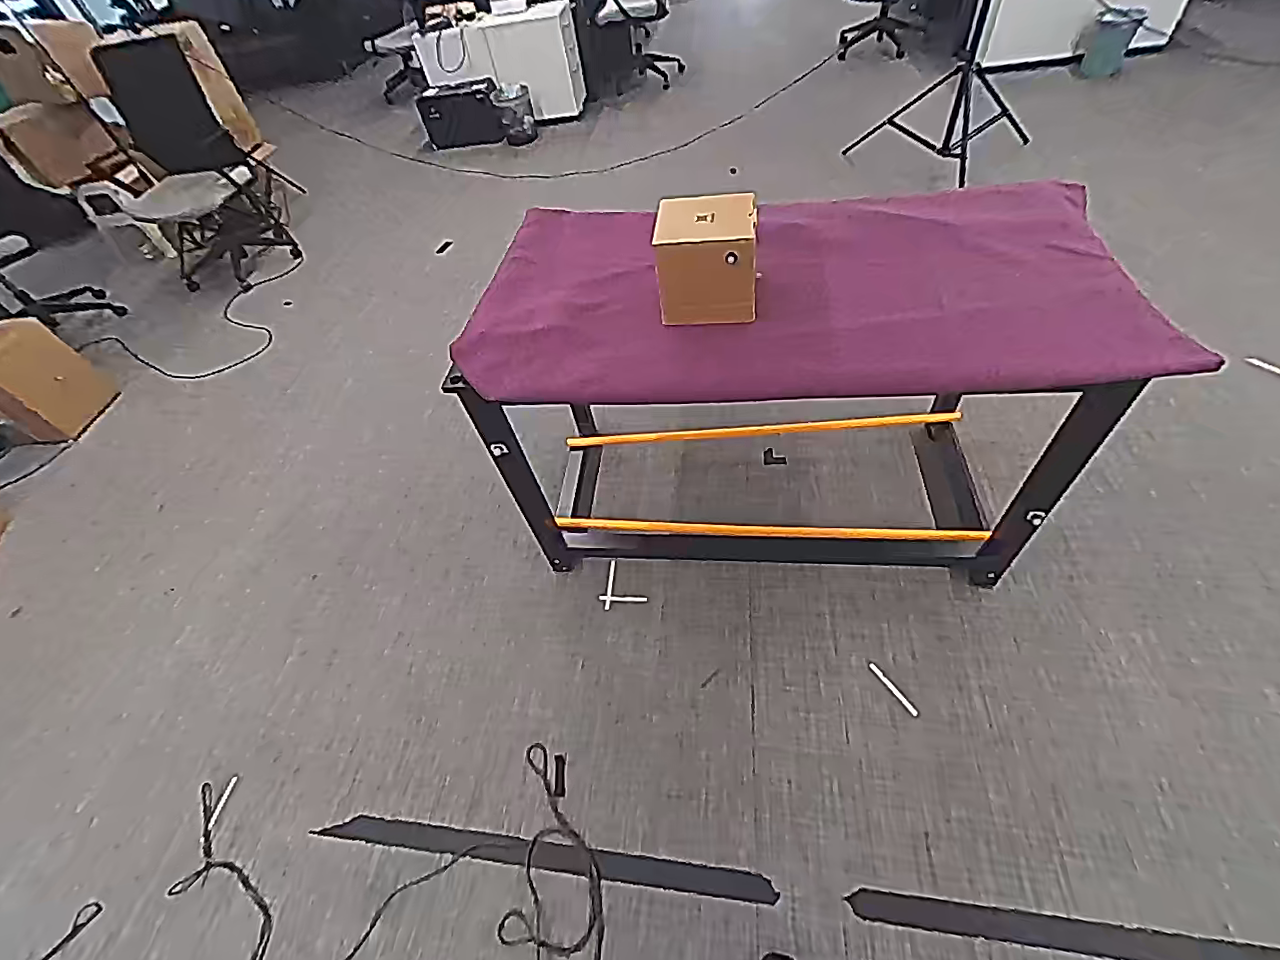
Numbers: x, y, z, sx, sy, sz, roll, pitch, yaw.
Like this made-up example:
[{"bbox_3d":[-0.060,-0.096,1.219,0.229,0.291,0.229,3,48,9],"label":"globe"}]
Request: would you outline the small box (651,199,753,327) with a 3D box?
[{"bbox_3d":[0.124,-0.405,1.025,0.179,0.176,0.168,1,51,10],"label":"small box"}]
